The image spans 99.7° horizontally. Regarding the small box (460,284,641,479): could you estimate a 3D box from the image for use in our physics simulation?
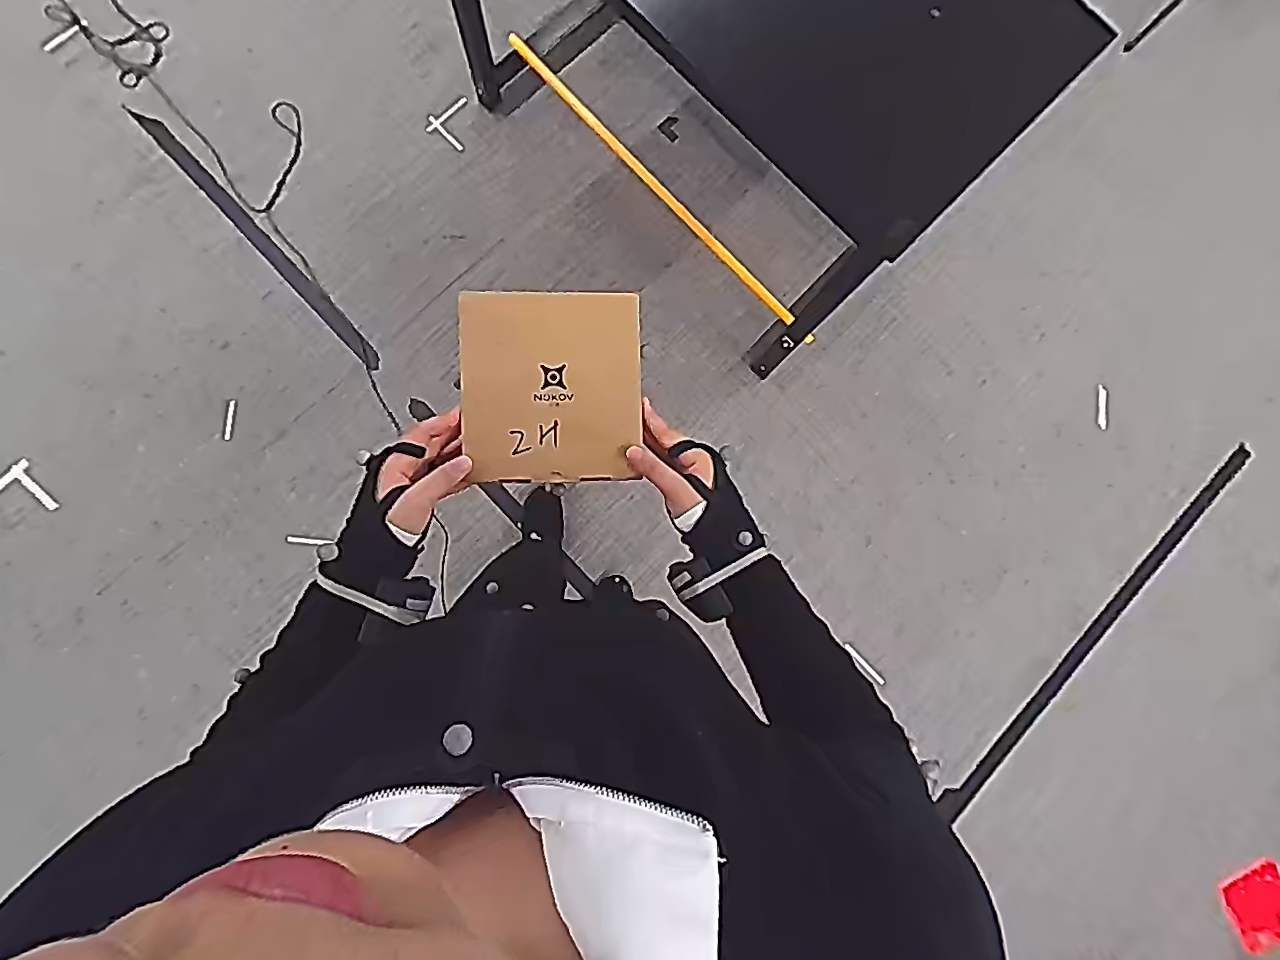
[{"bbox_3d":[-0.090,-0.091,0.576,0.168,0.176,0.179,-2,90,-6],"label":"small box"}]
